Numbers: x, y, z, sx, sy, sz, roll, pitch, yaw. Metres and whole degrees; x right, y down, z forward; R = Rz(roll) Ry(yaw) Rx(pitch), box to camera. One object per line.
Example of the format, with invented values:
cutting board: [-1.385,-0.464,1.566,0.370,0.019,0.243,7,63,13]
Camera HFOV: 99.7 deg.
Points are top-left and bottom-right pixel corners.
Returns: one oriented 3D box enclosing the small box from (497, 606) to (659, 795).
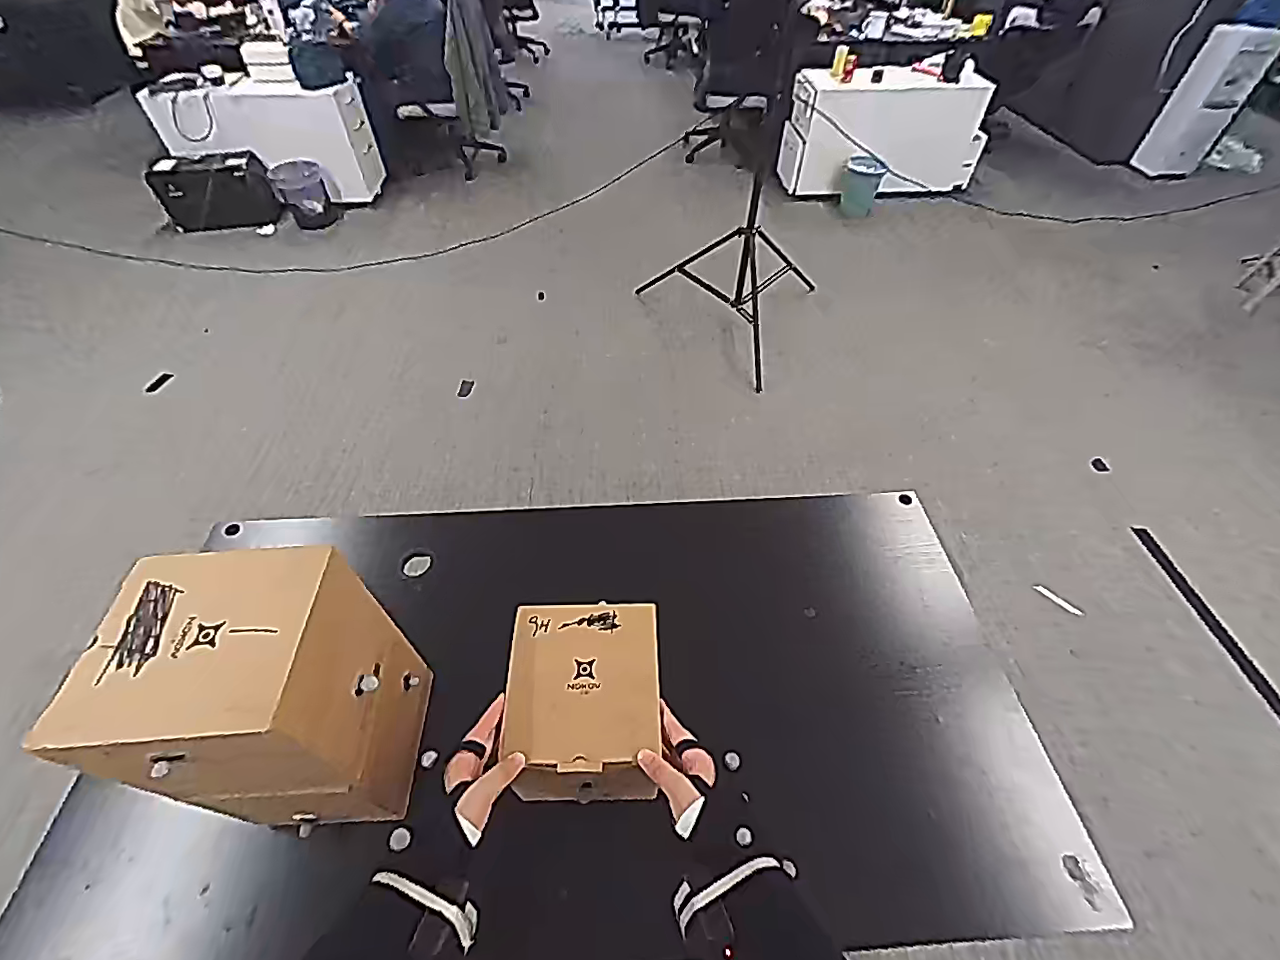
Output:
small box: [-0.061,0.269,0.648,0.168,0.176,0.179,-1,50,-1]

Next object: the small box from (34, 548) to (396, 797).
small box: [-0.359,0.183,0.506,0.179,0.176,0.168,-3,49,-3]

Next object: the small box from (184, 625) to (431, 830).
small box: [-0.359,0.289,0.631,0.168,0.176,0.179,-3,50,-2]
